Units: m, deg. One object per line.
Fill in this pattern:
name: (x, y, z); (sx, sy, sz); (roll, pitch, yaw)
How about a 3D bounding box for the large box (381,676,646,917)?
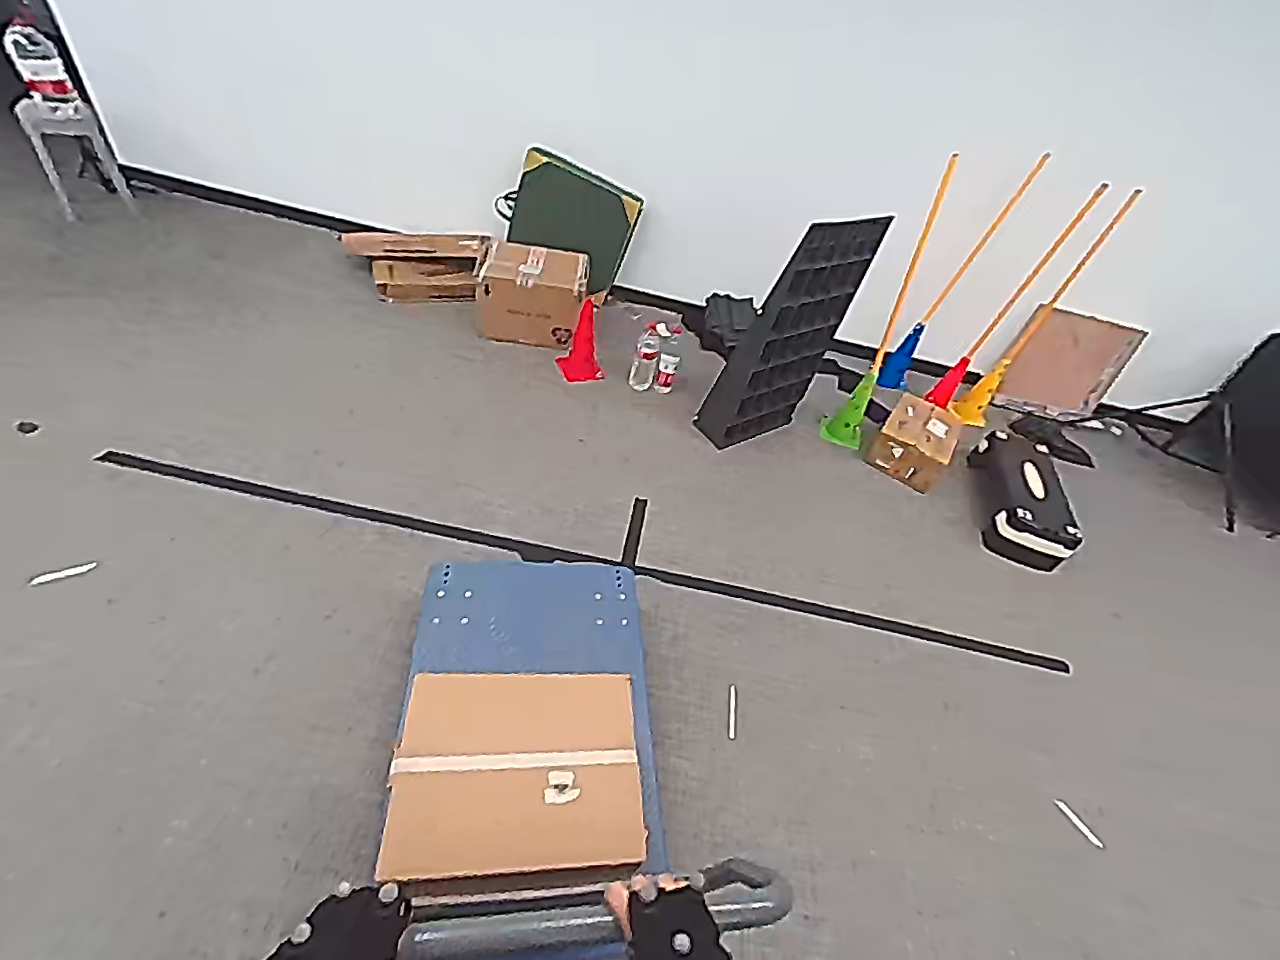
large box: (-0.232, 0.589, 1.022); (0.408, 0.320, 0.320); (5, 45, -13)
